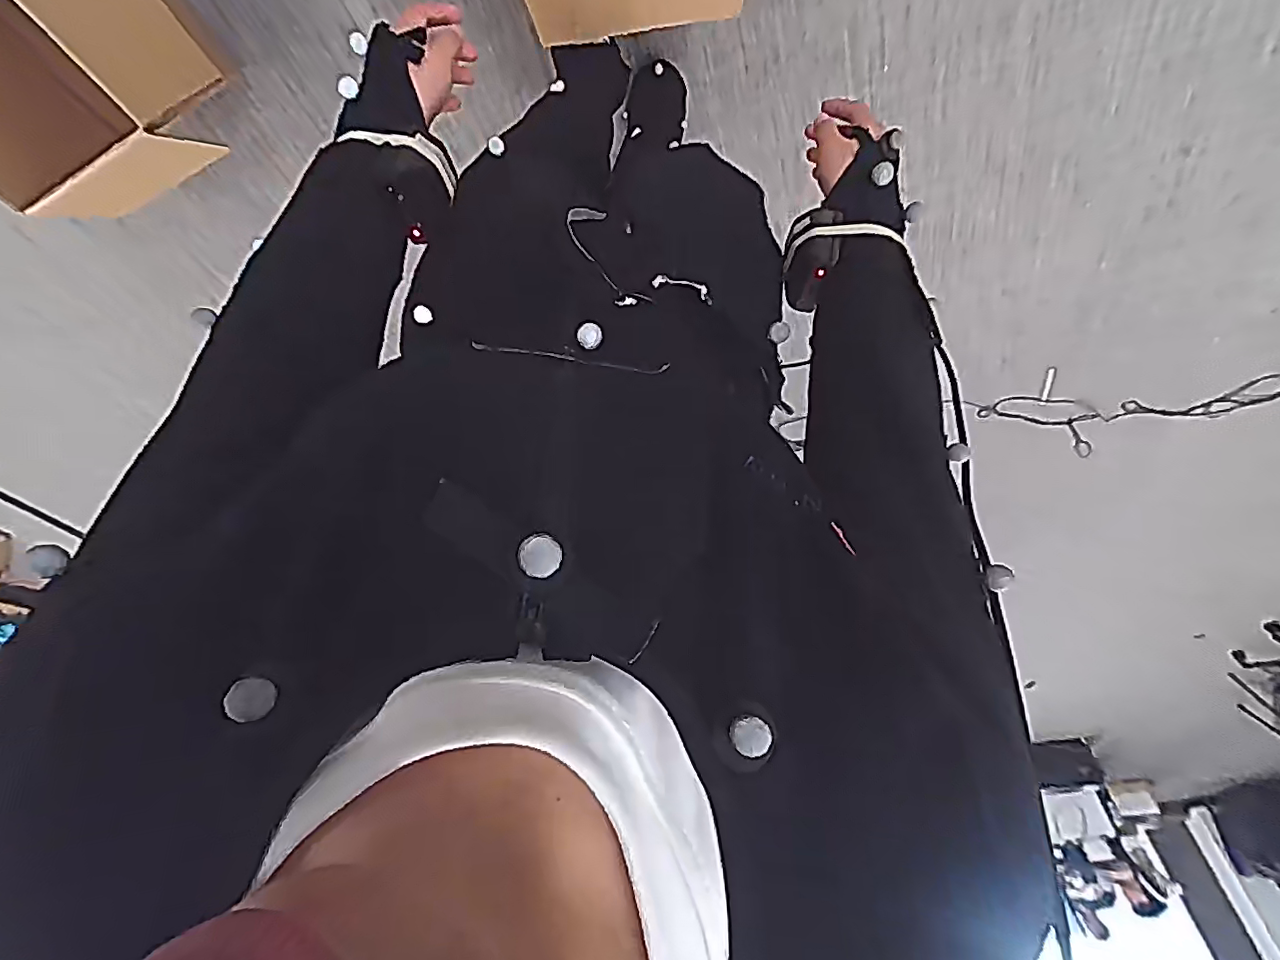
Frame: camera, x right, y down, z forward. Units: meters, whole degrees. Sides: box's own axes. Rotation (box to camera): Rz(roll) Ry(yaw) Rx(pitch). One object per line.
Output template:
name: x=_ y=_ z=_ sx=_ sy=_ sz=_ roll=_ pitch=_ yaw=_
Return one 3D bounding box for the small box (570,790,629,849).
small box: x=-0.150 y=1.271 z=2.026 sx=0.179 sy=0.176 sz=0.168 roll=-12 pitch=139 yaw=13
